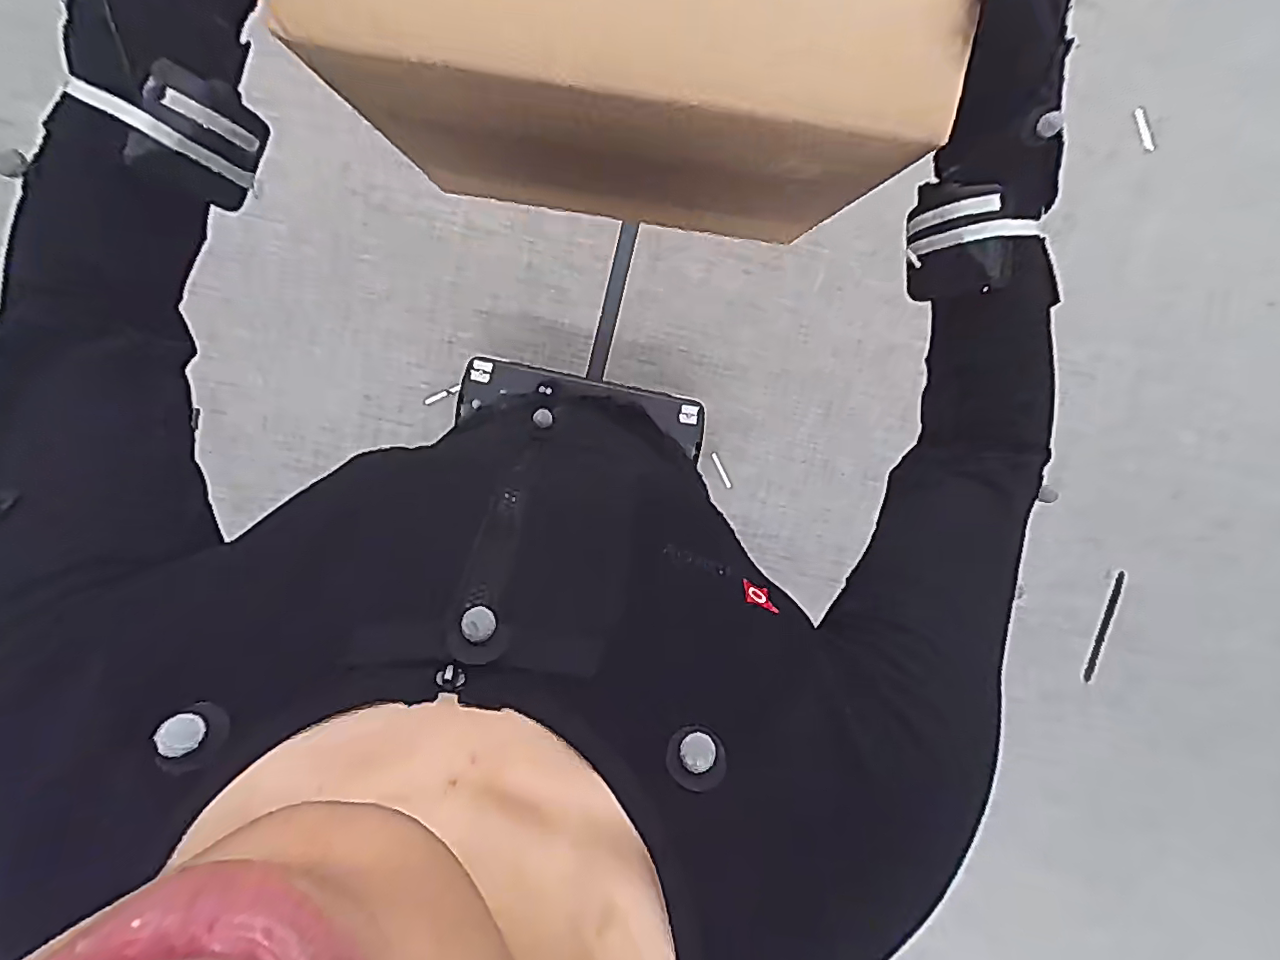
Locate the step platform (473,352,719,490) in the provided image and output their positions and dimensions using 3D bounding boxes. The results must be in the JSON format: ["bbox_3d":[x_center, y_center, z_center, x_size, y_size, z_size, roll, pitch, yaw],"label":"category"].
[{"bbox_3d":[-0.121,-0.166,1.550,0.684,0.204,0.286,10,98,-5],"label":"step platform"}]

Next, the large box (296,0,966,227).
[{"bbox_3d":[0.002,-0.424,0.441,0.408,0.320,0.320,6,104,-5],"label":"large box"}]
